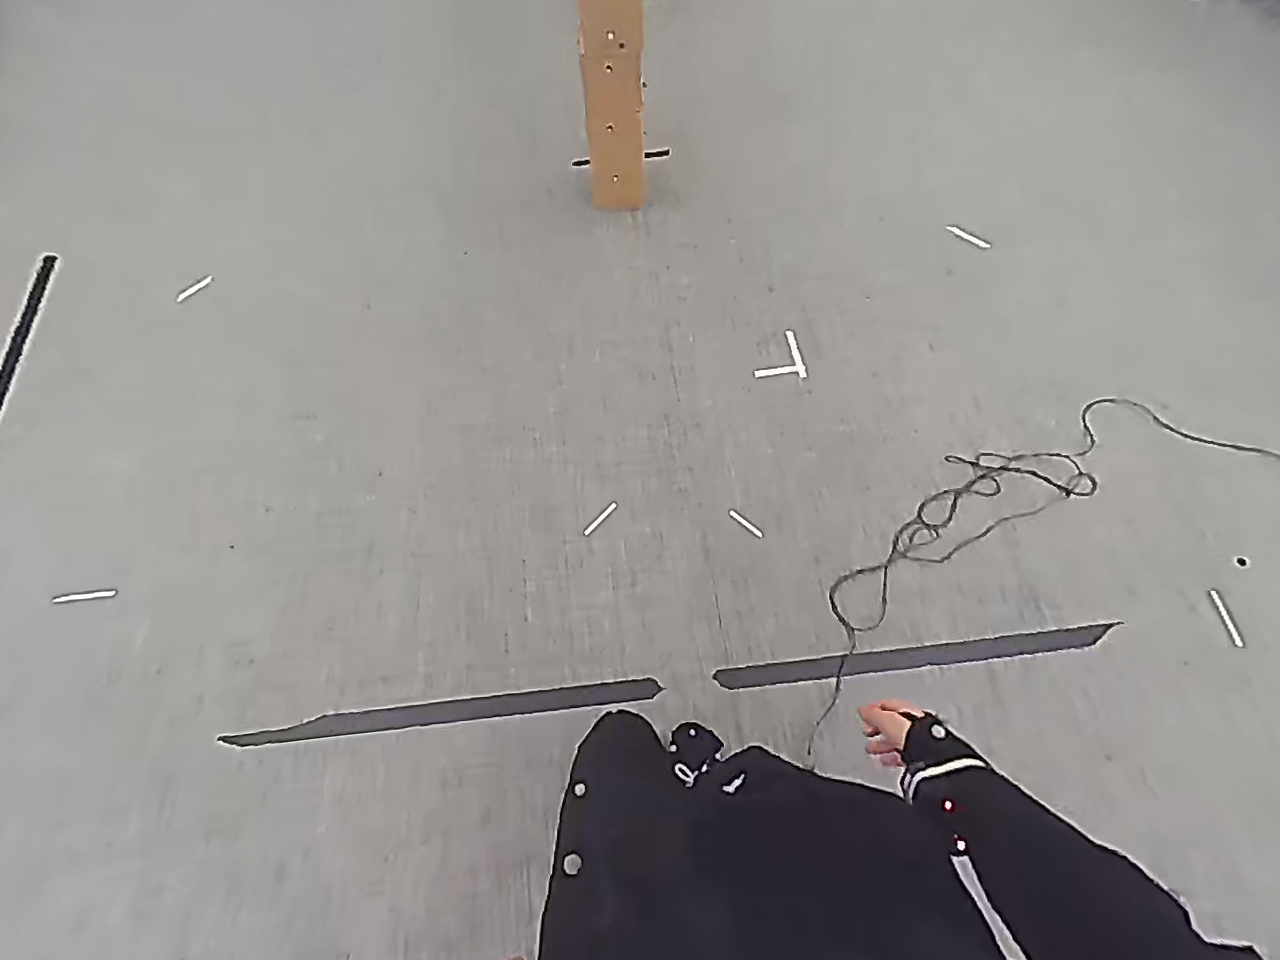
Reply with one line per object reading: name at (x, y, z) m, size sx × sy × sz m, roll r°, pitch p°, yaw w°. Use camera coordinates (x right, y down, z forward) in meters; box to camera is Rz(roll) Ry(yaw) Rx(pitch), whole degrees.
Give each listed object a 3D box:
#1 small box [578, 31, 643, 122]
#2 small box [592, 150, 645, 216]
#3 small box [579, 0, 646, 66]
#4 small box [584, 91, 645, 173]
small box at (-0.081, -1.182, 1.585) m, size 0.179 × 0.176 × 0.168 m, roll 0°, pitch 69°, yaw 1°
small box at (-0.072, -1.044, 1.880) m, size 0.179 × 0.176 × 0.168 m, roll -1°, pitch 68°, yaw 1°
small box at (-0.071, -1.242, 1.431) m, size 0.168 × 0.176 × 0.179 m, roll -1°, pitch 69°, yaw 2°
small box at (-0.076, -1.114, 1.732) m, size 0.179 × 0.176 × 0.168 m, roll 3°, pitch 69°, yaw 2°
